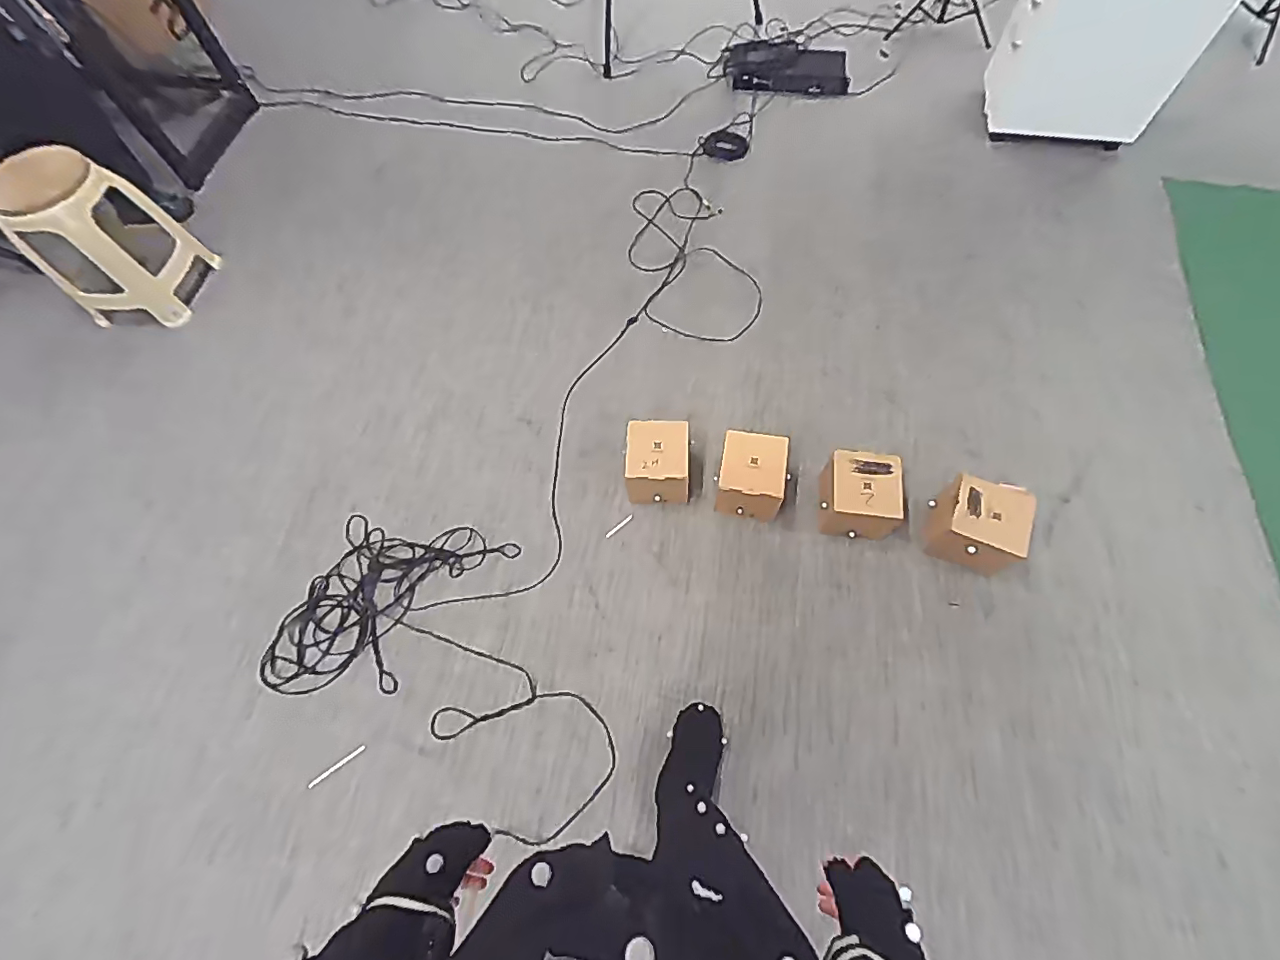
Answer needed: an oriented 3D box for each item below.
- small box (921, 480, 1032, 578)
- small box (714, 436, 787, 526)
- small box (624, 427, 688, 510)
[{"bbox_3d":[0.844,0.130,1.372,0.179,0.176,0.168,22,67,12],"label":"small box"},{"bbox_3d":[0.295,0.006,1.468,0.168,0.176,0.179,8,65,7],"label":"small box"},{"bbox_3d":[0.048,-0.031,1.499,0.168,0.176,0.179,0,64,5],"label":"small box"}]
